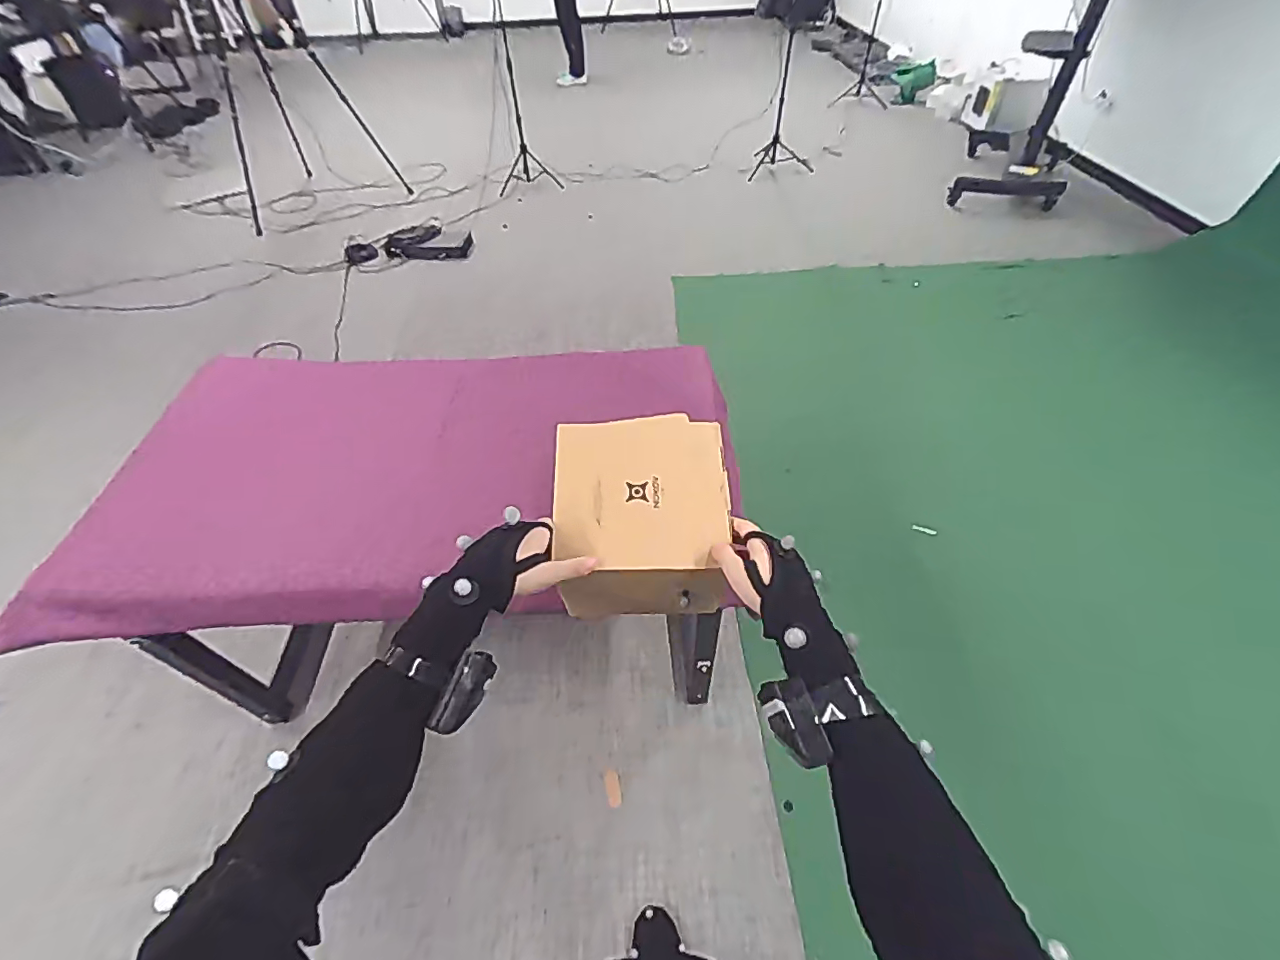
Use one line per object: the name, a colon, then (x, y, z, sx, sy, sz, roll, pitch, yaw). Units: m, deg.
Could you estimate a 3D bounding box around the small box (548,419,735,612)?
small box: (0.001, 0.046, 0.607, 0.179, 0.176, 0.168, 0, 62, 0)
